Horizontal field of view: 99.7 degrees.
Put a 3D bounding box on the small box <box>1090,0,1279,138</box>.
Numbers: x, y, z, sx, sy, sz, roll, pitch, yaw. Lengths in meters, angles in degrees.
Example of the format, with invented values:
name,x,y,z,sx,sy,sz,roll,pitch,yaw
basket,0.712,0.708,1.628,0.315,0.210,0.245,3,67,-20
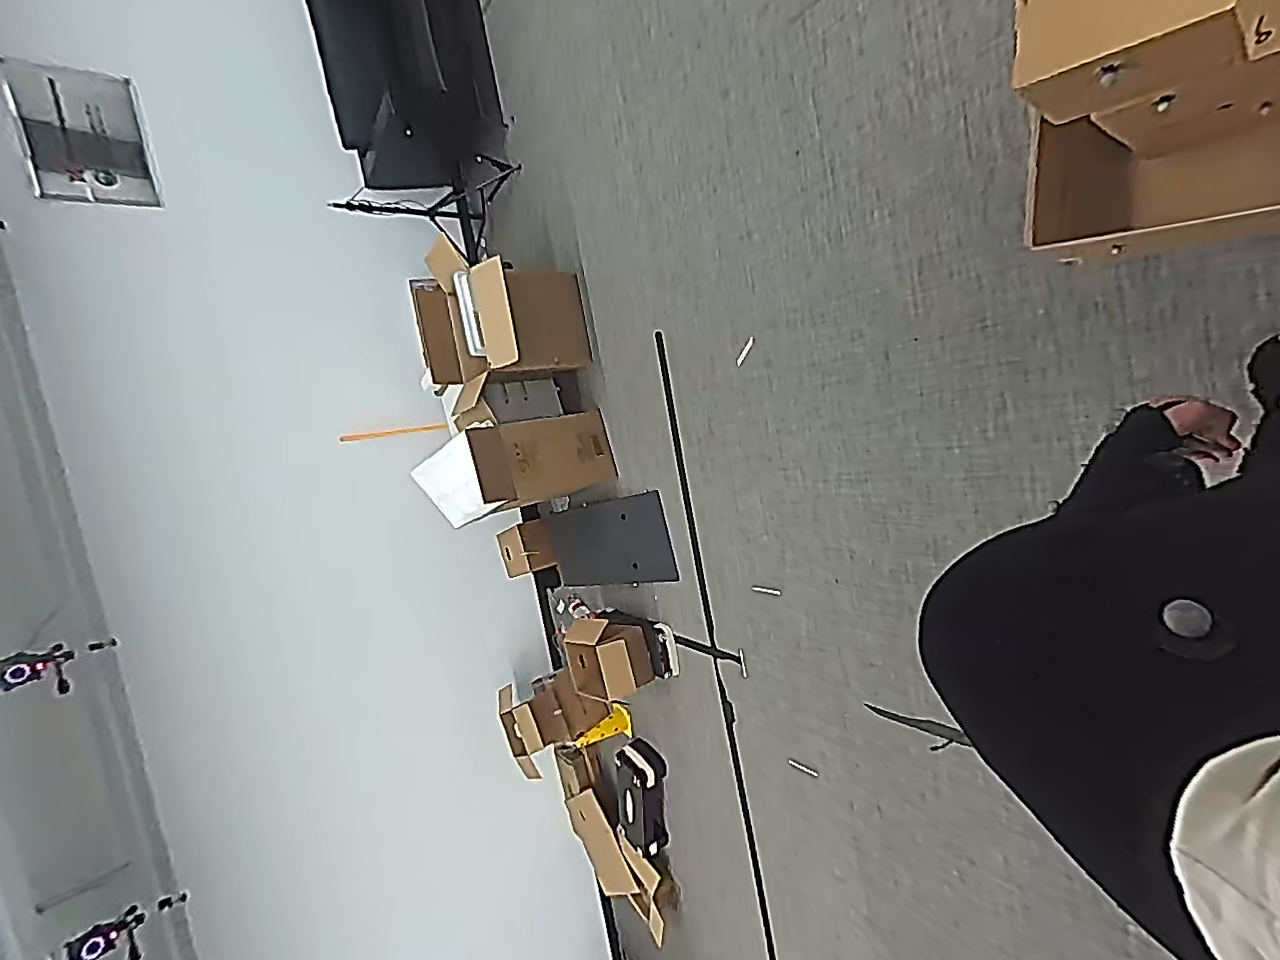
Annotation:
name,x,y,z,sx,sy,sz,roll,pitch,yaw
small box,0.667,-0.547,0.645,0.168,0.176,0.179,7,105,52

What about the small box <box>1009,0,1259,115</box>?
name,x,y,z,sx,sy,sz,roll,pitch,yaw
small box,0.523,-0.519,0.569,0.179,0.176,0.168,11,109,51
